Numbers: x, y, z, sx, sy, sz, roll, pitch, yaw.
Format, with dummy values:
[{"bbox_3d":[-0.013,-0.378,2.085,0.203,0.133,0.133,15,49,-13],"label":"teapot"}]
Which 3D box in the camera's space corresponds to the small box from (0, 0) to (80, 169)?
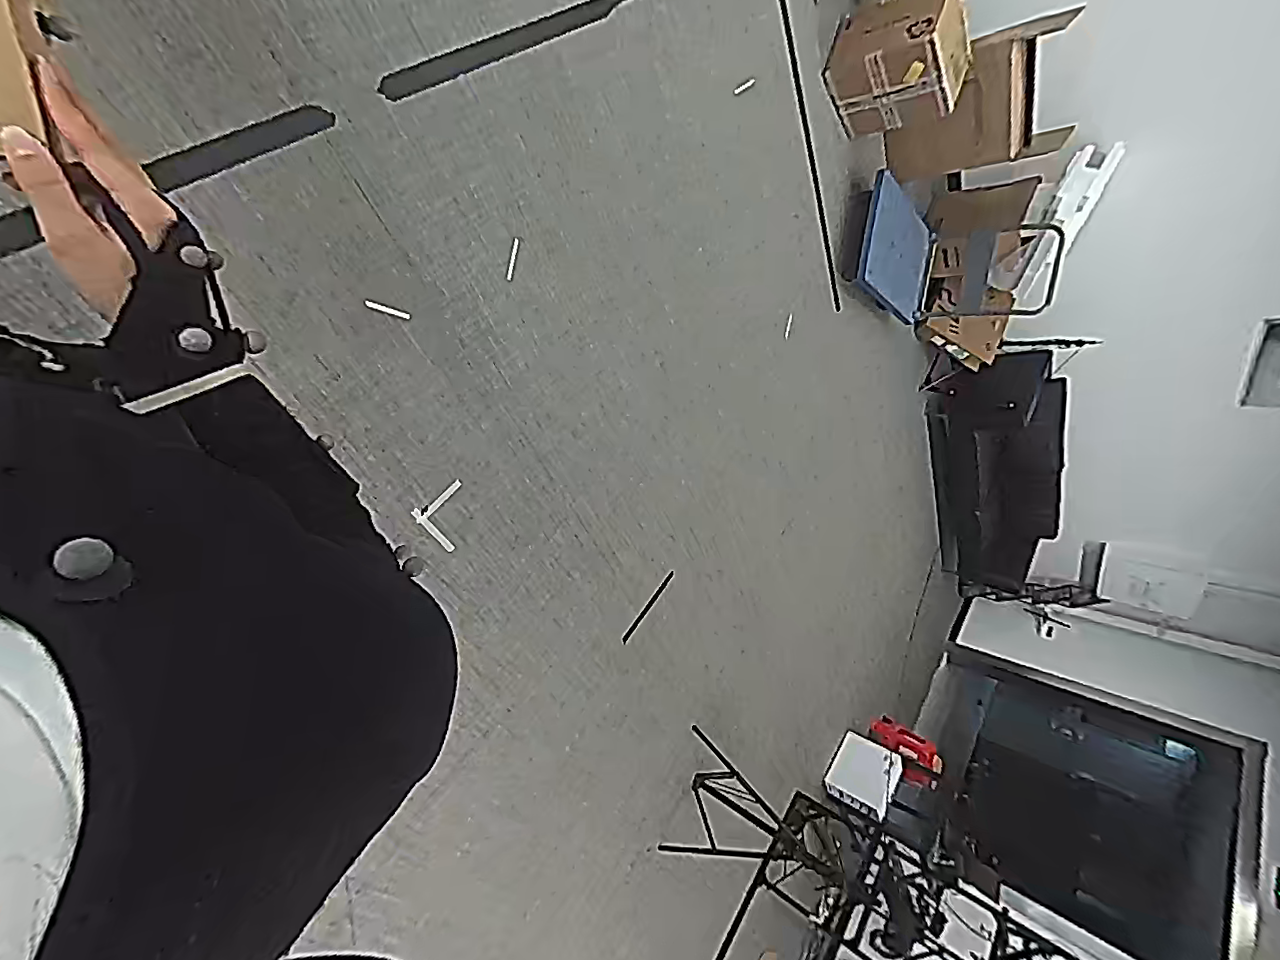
[{"bbox_3d":[-0.413,-0.261,0.261,0.179,0.176,0.168,-10,118,-37],"label":"small box"}]
